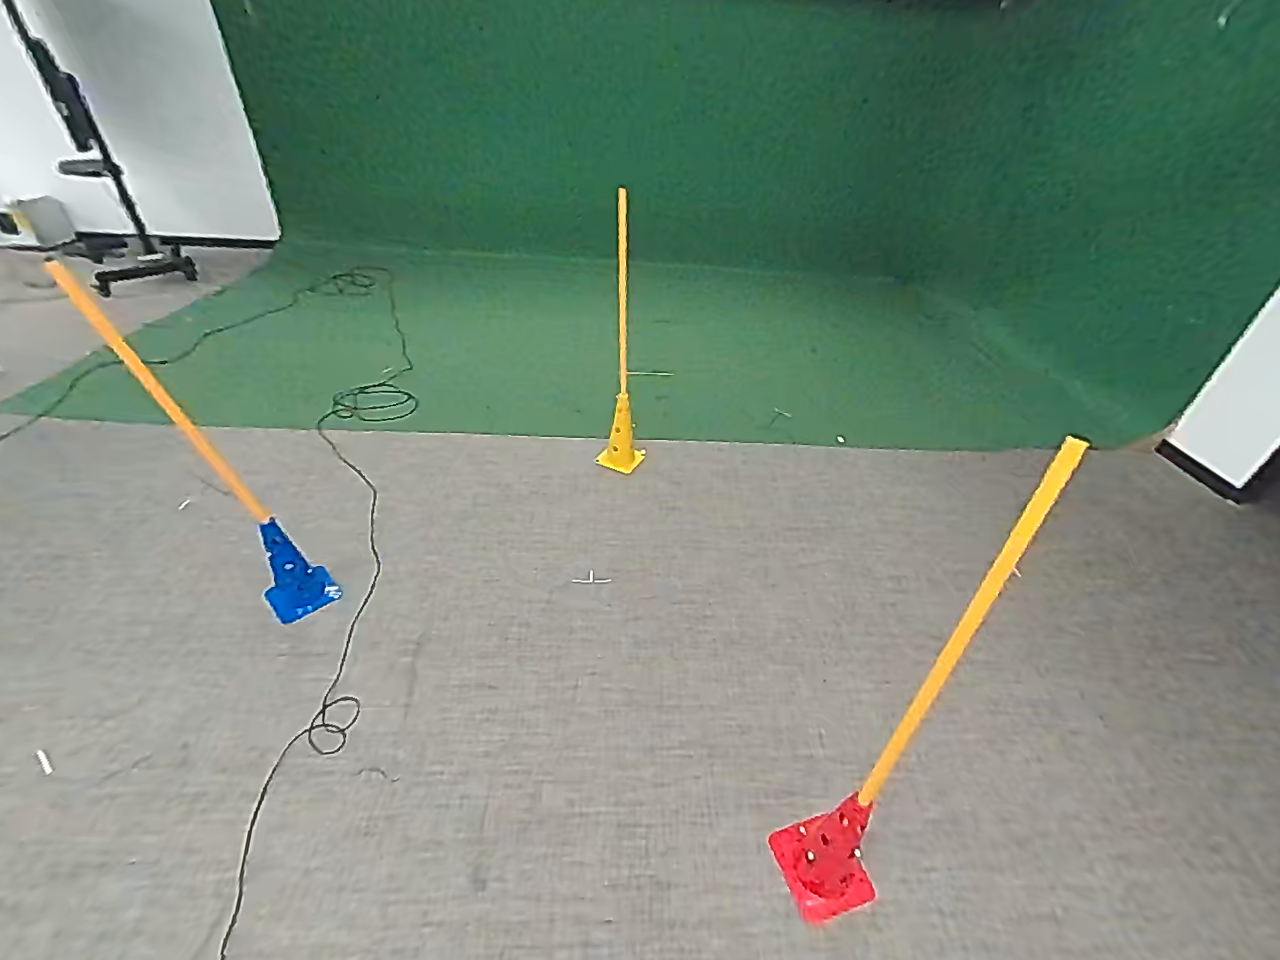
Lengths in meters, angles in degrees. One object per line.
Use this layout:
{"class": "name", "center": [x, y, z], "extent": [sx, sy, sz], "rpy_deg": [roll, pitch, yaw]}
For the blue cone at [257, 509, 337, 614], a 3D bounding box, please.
{"class": "blue cone", "center": [-1.181, 0.251, 1.798], "extent": [0.192, 0.380, 0.193], "rpy_deg": [33, 48, 30]}
